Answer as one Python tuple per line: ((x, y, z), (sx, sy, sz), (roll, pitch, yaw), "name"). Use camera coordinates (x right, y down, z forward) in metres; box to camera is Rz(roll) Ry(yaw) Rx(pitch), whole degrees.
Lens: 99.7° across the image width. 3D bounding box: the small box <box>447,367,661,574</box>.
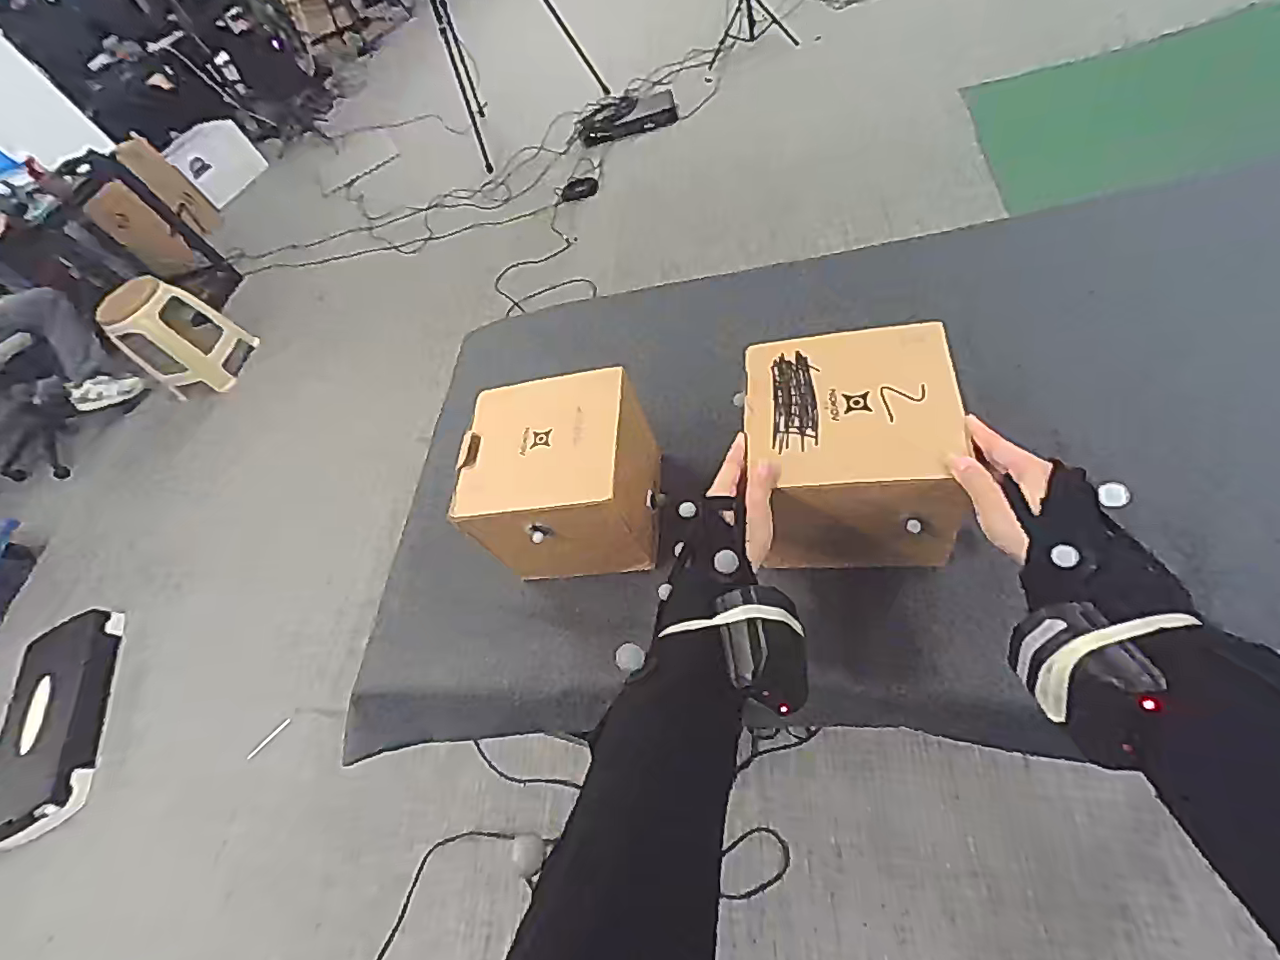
((-0.083, 0.000, 0.618), (0.179, 0.176, 0.168), (-7, 57, 14), "small box")
